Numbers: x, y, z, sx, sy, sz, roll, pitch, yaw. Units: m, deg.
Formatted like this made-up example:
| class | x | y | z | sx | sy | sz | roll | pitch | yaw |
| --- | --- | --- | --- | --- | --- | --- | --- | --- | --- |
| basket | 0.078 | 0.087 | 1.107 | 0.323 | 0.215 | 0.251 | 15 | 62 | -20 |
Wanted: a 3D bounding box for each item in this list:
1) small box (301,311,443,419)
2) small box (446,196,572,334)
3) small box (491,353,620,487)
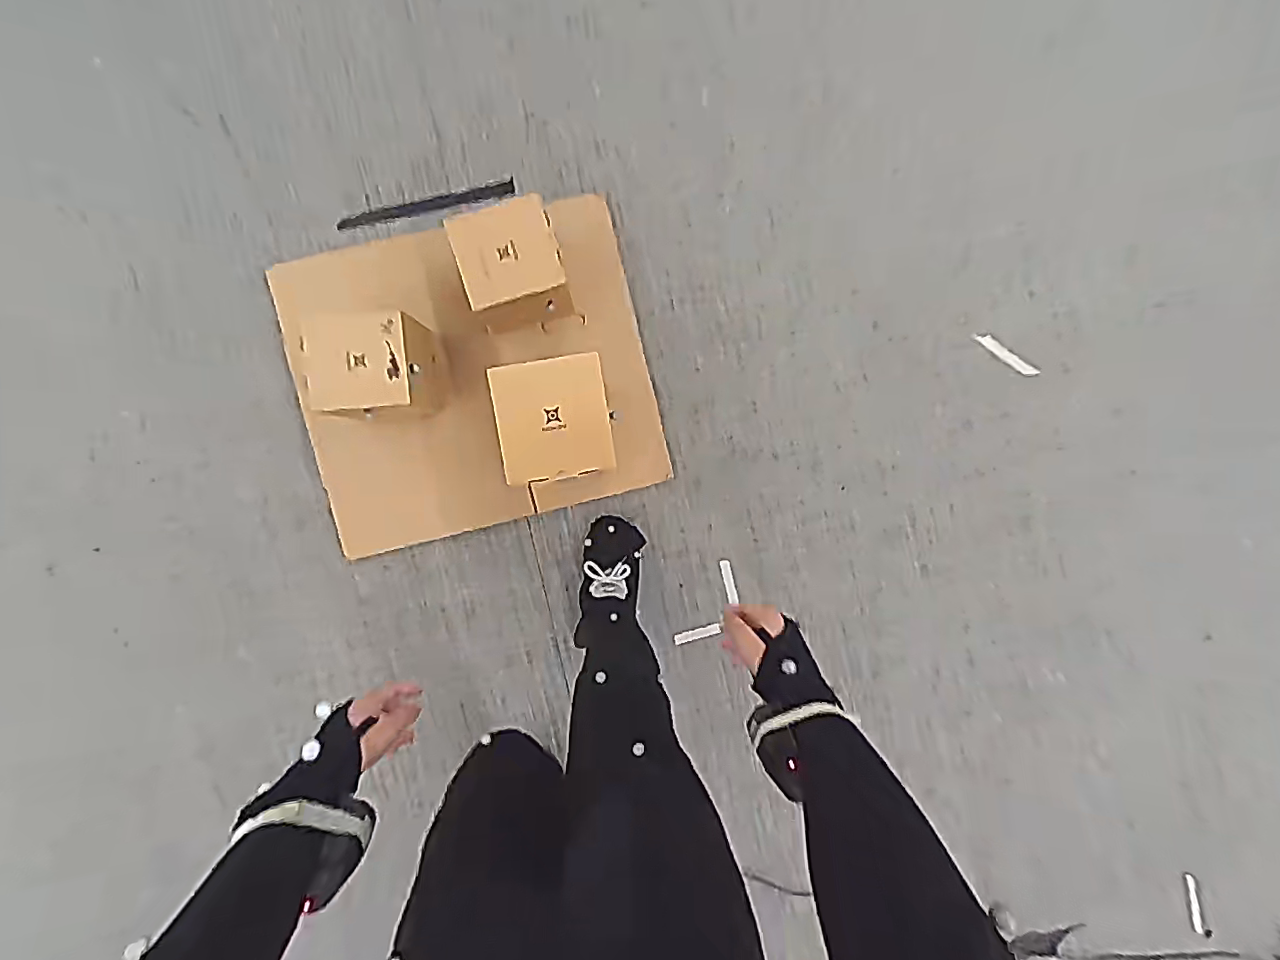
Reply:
| class | x | y | z | sx | sy | sz | roll | pitch | yaw |
| --- | --- | --- | --- | --- | --- | --- | --- | --- | --- |
| small box | -0.487 | -0.205 | 1.005 | 0.179 | 0.176 | 0.168 | -5 | 93 | -1 |
| small box | -0.232 | -0.391 | 1.013 | 0.179 | 0.176 | 0.168 | -18 | 92 | -2 |
| small box | -0.128 | -0.090 | 0.865 | 0.168 | 0.176 | 0.179 | -10 | 94 | -2 |
